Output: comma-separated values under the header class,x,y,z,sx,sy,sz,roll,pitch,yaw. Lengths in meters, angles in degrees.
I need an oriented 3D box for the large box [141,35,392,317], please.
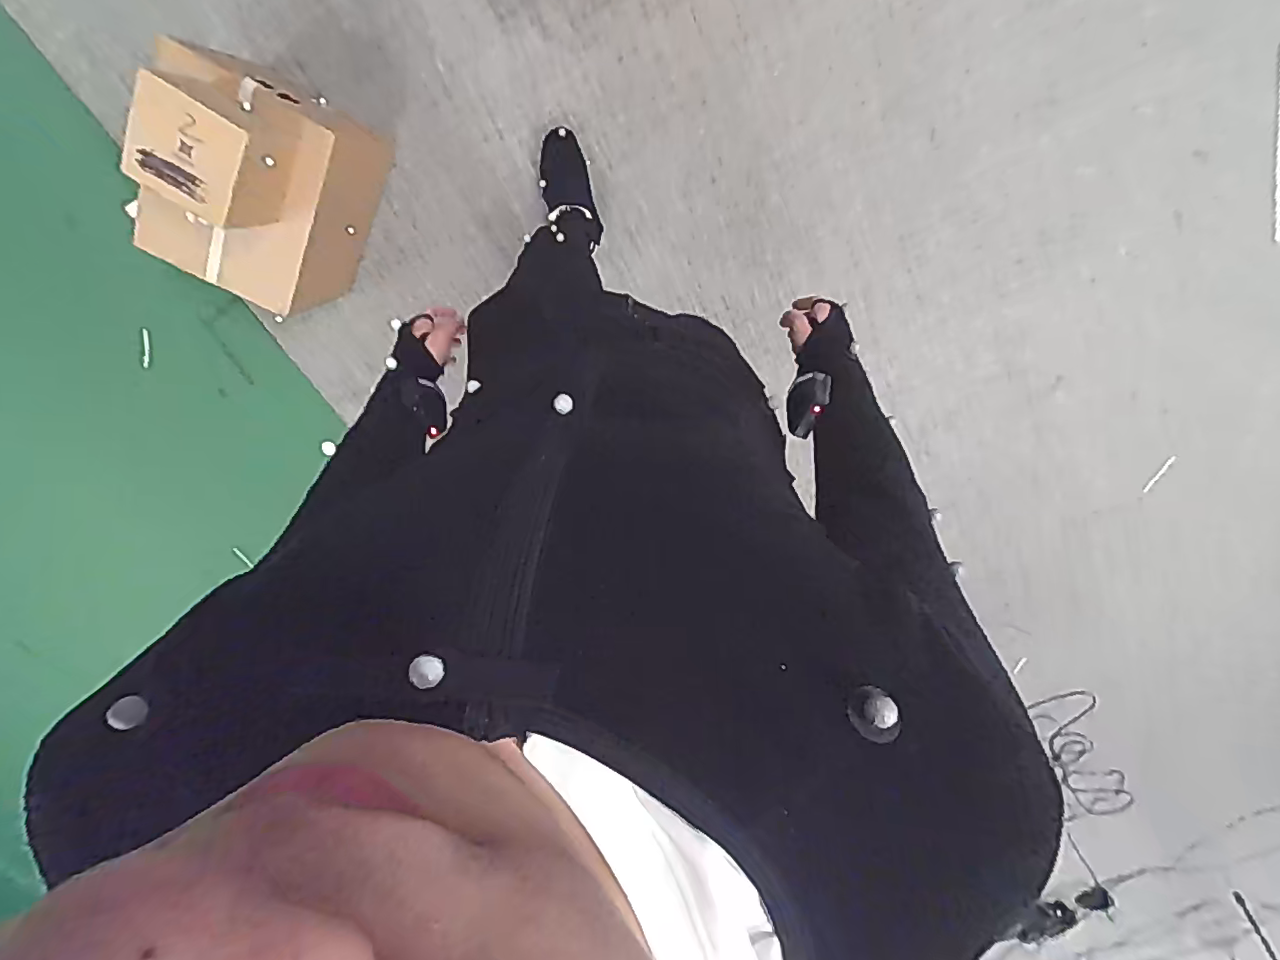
class,x,y,z,sx,sy,sz,roll,pitch,yaw
large box,-0.805,-0.650,1.196,0.320,0.320,0.408,27,118,-15
